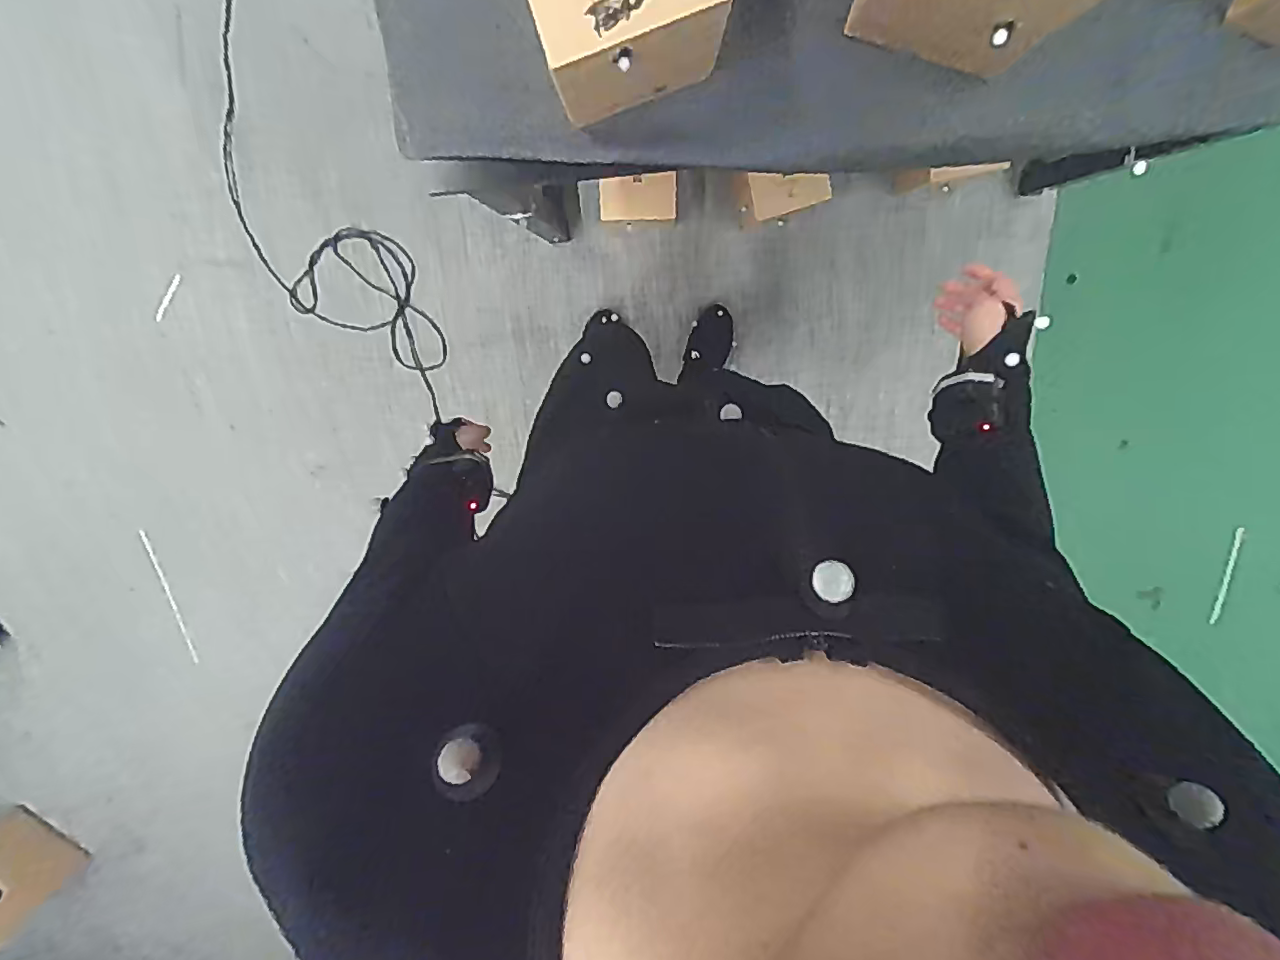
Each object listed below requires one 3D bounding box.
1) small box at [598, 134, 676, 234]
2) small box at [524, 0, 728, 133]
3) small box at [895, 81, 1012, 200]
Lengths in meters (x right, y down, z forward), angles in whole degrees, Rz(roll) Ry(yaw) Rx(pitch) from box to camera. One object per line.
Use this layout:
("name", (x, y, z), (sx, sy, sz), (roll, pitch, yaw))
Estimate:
("small box", (-0.002, -0.657, 1.221), (0.168, 0.176, 0.179), (0, 107, 2))
("small box", (-0.027, -0.471, 0.513), (0.168, 0.176, 0.179), (-17, 107, 6))
("small box", (0.673, -0.726, 1.179), (0.168, 0.176, 0.179), (-9, 107, 4))
